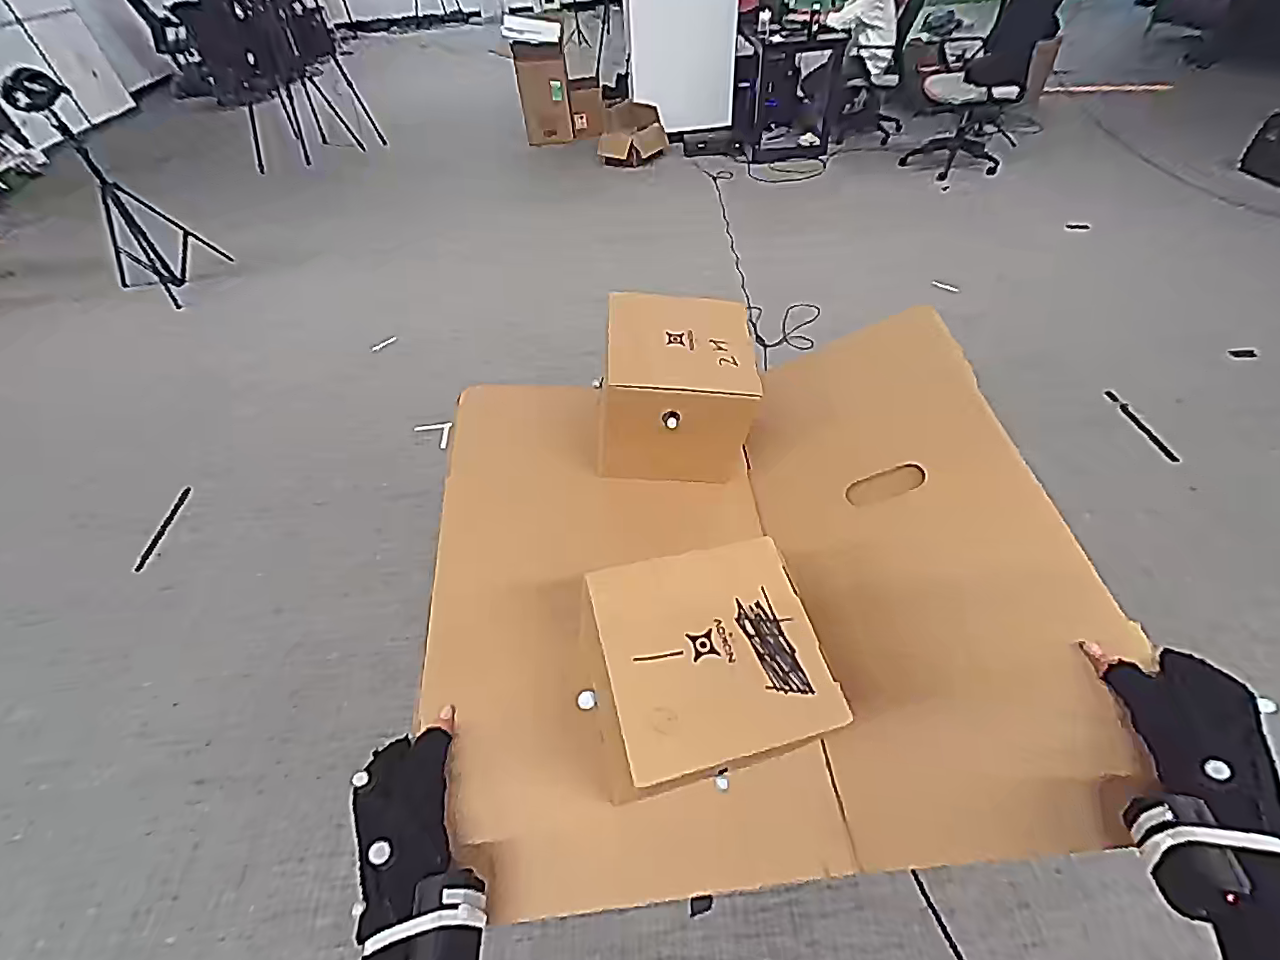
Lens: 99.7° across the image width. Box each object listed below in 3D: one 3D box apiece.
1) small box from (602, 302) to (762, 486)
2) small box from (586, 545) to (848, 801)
[{"bbox_3d":[0.042,-0.106,0.707,0.179,0.176,0.168,4,55,-6],"label":"small box"},{"bbox_3d":[0.051,0.182,0.505,0.179,0.176,0.168,-9,57,-13],"label":"small box"}]
